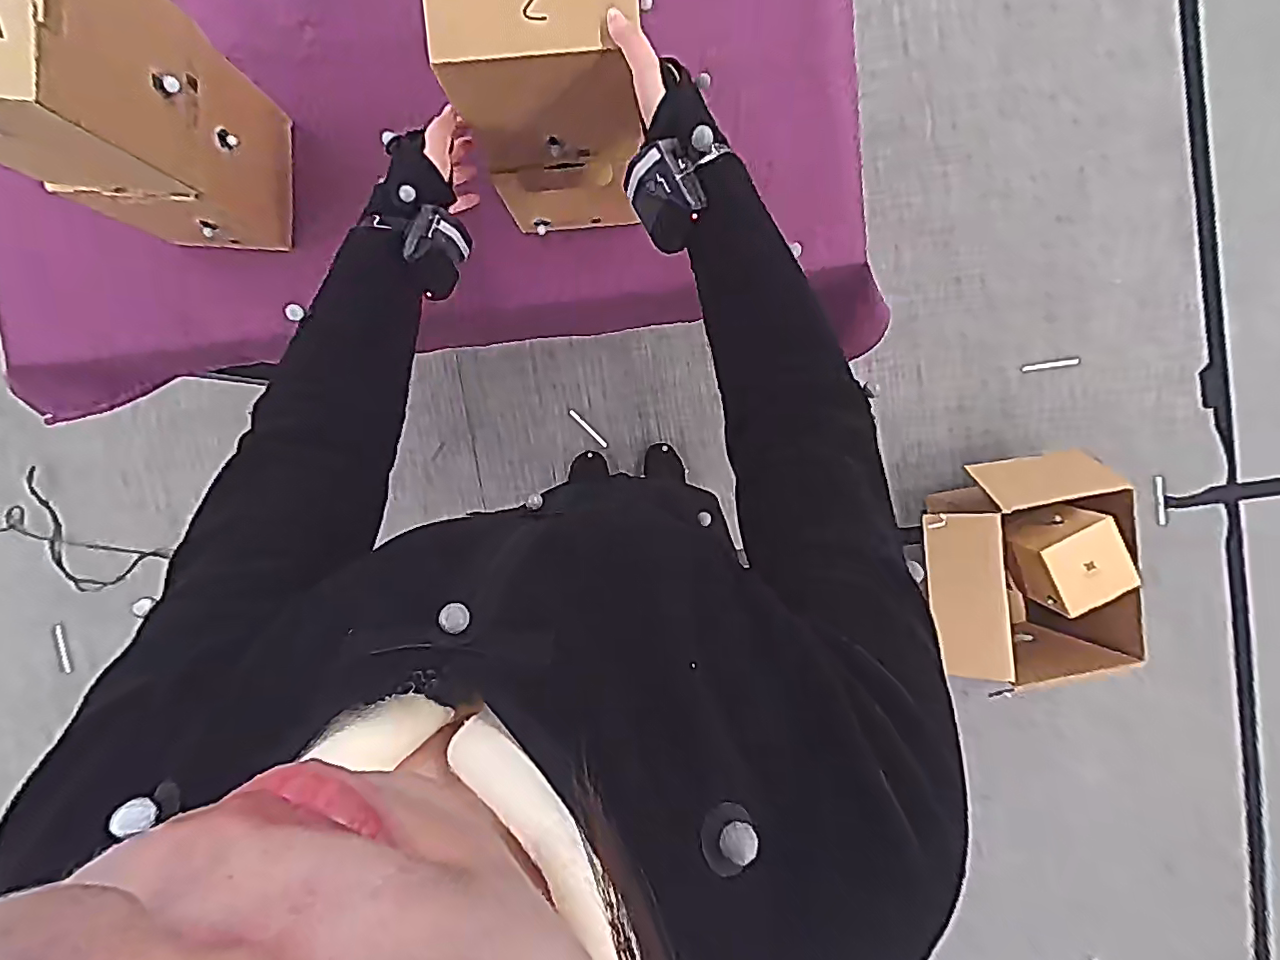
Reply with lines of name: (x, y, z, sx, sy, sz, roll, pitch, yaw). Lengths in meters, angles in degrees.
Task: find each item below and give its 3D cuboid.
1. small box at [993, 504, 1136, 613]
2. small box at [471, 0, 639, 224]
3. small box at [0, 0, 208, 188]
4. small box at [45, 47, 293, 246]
small box: (0.964, 0.168, 1.244, 0.168, 0.176, 0.179, -29, 98, 5)
small box: (-0.089, -0.426, 0.649, 0.168, 0.176, 0.179, -5, 94, 1)
small box: (-0.547, -0.389, 0.491, 0.179, 0.176, 0.168, 5, 96, -1)
small box: (-0.553, -0.401, 0.654, 0.168, 0.176, 0.179, 3, 95, -1)
